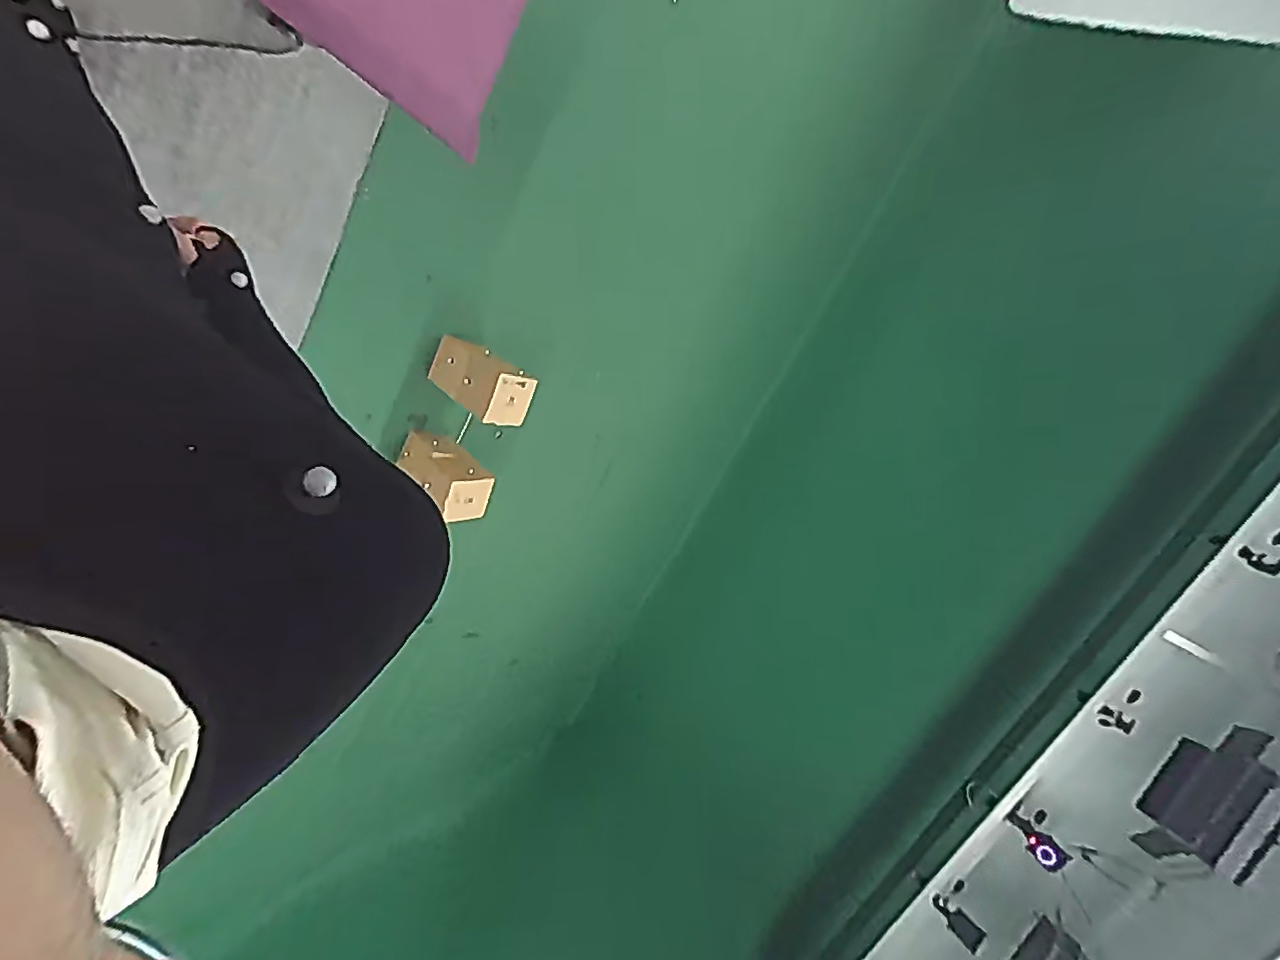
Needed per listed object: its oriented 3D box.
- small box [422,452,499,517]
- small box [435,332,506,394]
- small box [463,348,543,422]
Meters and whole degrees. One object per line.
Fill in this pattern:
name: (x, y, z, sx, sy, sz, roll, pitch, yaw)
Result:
small box: (-0.634, 0.009, 1.910, 0.179, 0.176, 0.168, -7, 127, -52)
small box: (-0.581, -0.398, 1.883, 0.179, 0.176, 0.168, 3, 119, -57)
small box: (-0.464, -0.315, 1.803, 0.168, 0.176, 0.179, 0, 122, -56)
